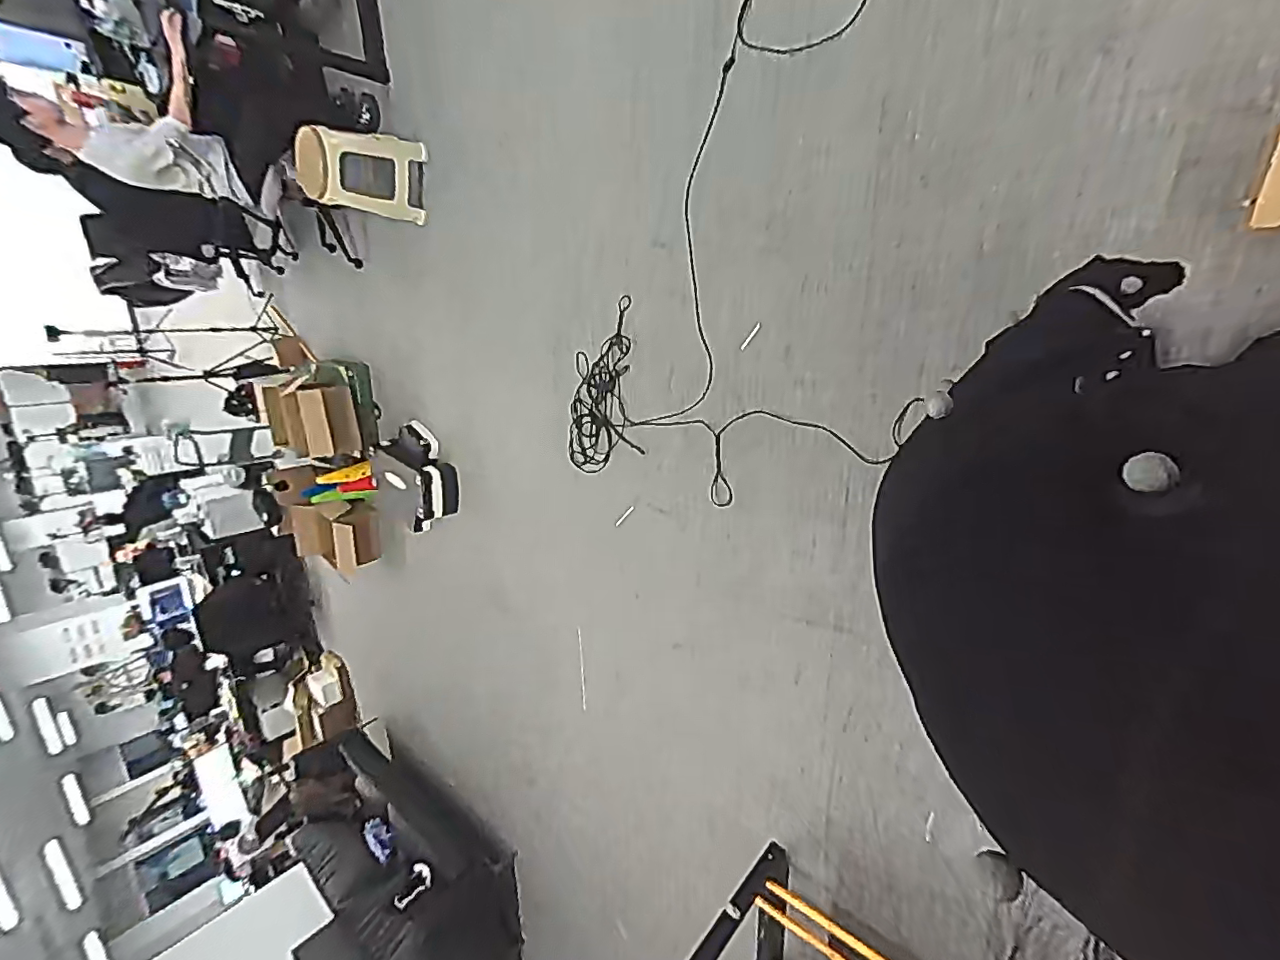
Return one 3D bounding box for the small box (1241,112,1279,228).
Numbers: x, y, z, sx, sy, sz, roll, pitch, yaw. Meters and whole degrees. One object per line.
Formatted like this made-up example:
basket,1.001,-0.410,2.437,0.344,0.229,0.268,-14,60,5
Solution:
small box,1.067,-0.493,0.823,0.168,0.176,0.179,16,114,38
